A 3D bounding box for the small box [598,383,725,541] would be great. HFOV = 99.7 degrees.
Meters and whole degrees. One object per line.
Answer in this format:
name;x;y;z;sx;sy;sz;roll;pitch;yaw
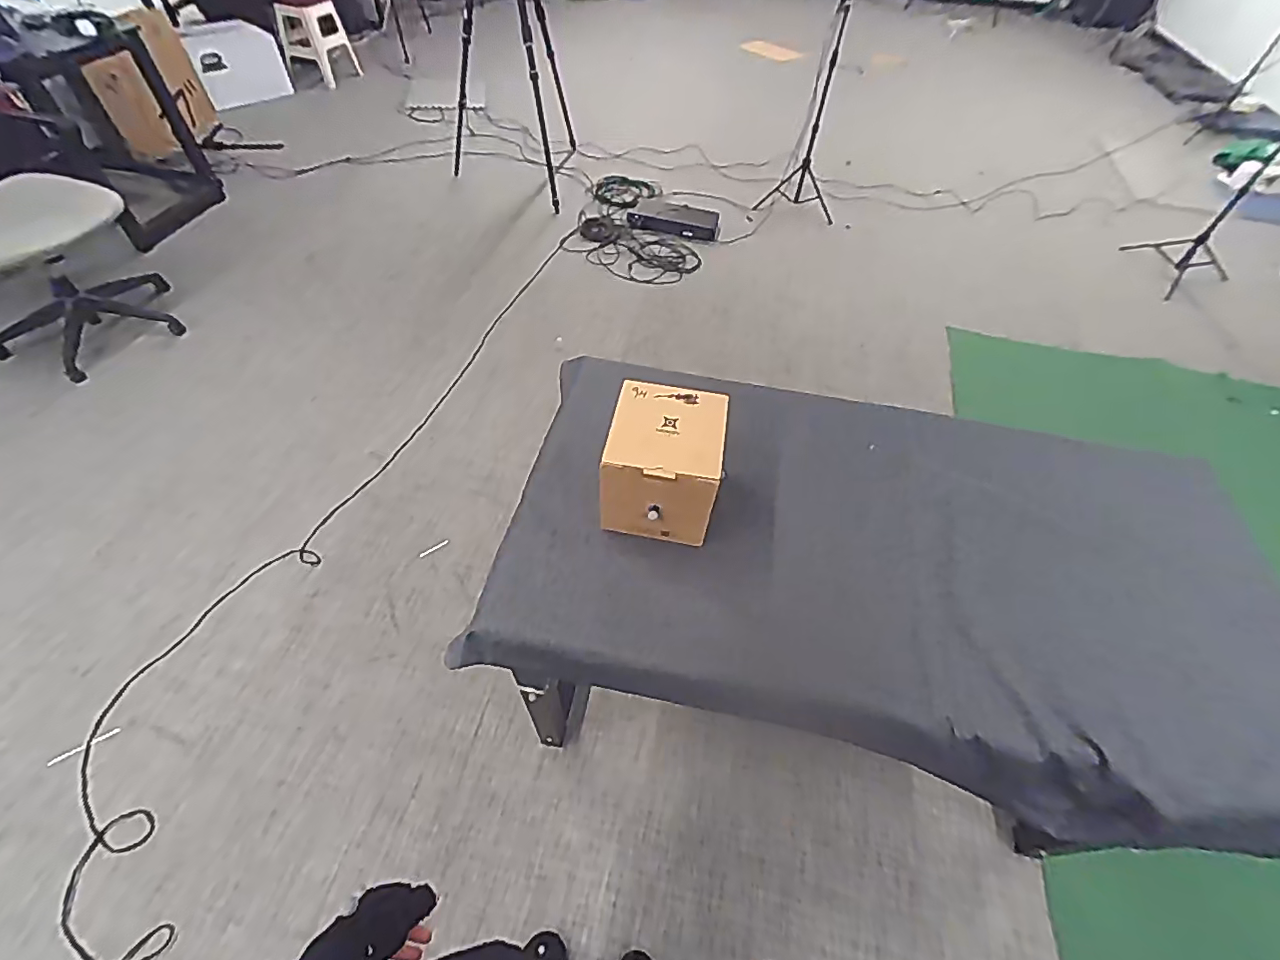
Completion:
small box;0.035;-0.024;0.853;0.168;0.176;0.179;9;52;4
